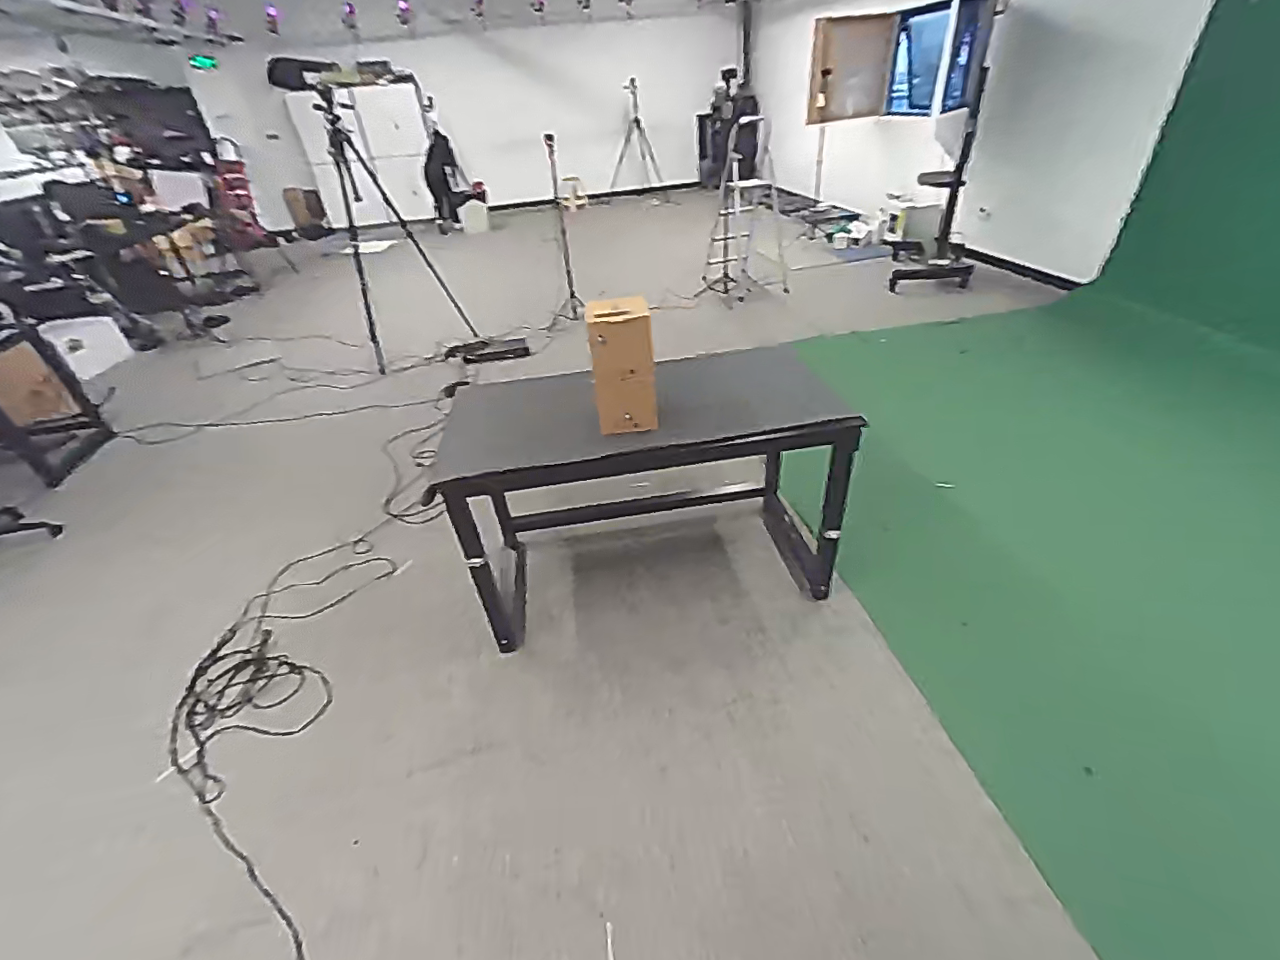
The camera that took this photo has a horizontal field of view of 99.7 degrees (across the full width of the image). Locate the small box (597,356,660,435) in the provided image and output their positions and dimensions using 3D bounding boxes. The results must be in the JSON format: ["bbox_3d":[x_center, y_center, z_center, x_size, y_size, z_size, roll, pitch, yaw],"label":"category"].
[{"bbox_3d":[-0.033,-0.249,1.582,0.168,0.176,0.179,-6,35,0],"label":"small box"}]
